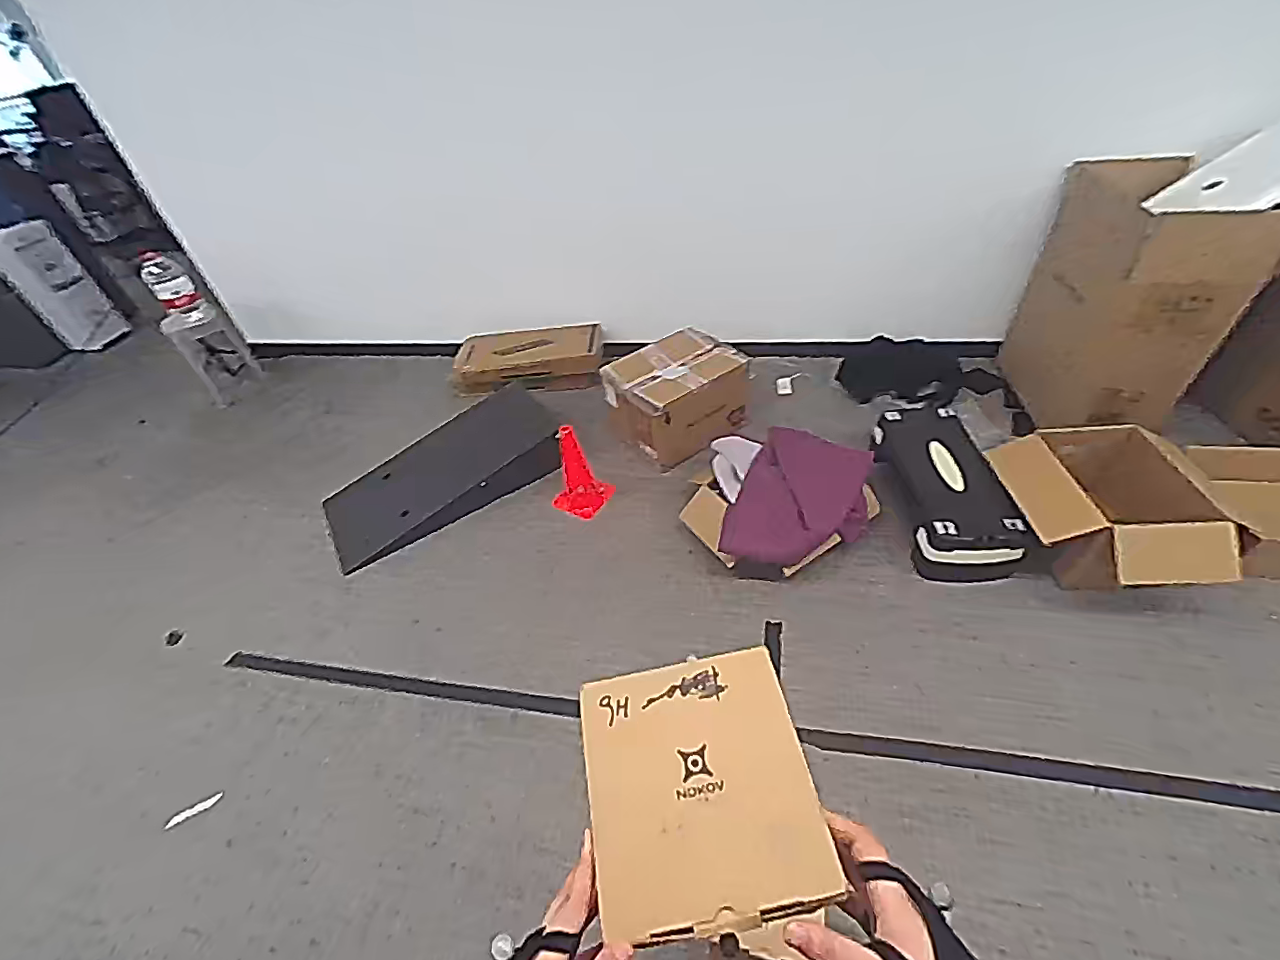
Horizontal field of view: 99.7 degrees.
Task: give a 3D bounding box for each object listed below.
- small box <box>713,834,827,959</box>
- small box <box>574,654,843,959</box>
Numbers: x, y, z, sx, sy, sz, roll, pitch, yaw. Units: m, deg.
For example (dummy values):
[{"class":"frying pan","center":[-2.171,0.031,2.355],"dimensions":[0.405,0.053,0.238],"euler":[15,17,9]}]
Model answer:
[{"class":"small box","center":[0.206,0.672,0.872],"dimensions":[0.168,0.176,0.179],"euler":[4,45,15]},{"class":"small box","center":[0.048,0.276,0.458],"dimensions":[0.168,0.176,0.179],"euler":[-12,50,-2]}]
